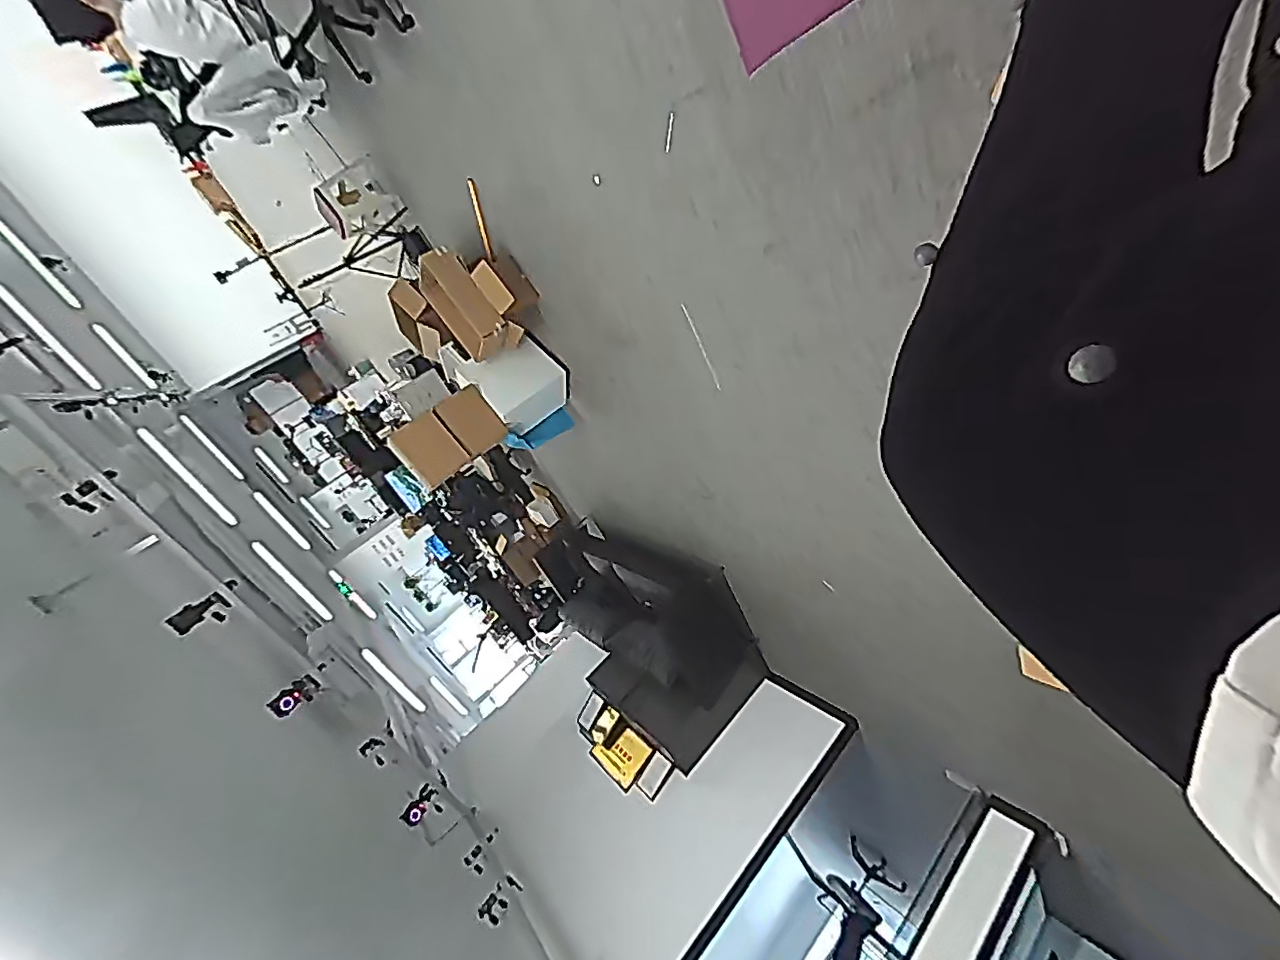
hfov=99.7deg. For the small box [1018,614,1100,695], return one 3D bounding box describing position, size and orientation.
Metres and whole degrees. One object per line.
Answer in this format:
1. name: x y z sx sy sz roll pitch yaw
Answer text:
1. small box: 1.415 0.579 1.824 0.179 0.176 0.168 12 136 52
